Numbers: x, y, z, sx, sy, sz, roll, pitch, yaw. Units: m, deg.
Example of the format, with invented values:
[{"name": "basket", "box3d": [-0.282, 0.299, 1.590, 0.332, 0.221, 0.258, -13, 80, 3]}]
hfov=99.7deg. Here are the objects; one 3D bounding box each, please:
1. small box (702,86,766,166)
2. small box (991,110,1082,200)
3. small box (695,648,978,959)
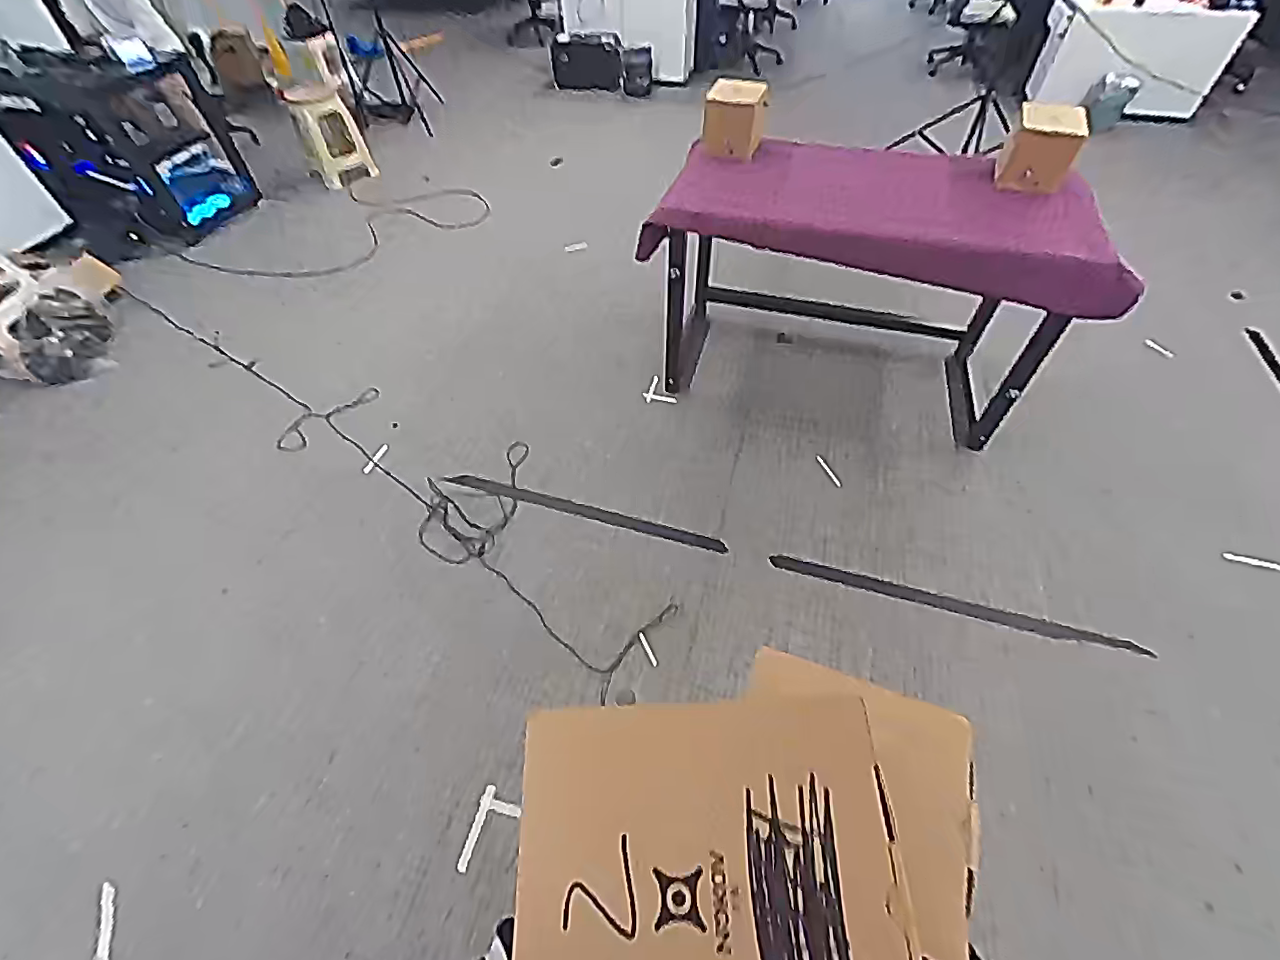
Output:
[{"name": "small box", "box3d": [0.311, -1.186, 1.810, 0.168, 0.176, 0.179, 16, 55, 14]}, {"name": "small box", "box3d": [1.183, -0.976, 1.624, 0.168, 0.176, 0.179, 16, 58, 14]}, {"name": "small box", "box3d": [0.159, 0.281, 0.468, 0.179, 0.176, 0.168, 18, 51, 15]}]
